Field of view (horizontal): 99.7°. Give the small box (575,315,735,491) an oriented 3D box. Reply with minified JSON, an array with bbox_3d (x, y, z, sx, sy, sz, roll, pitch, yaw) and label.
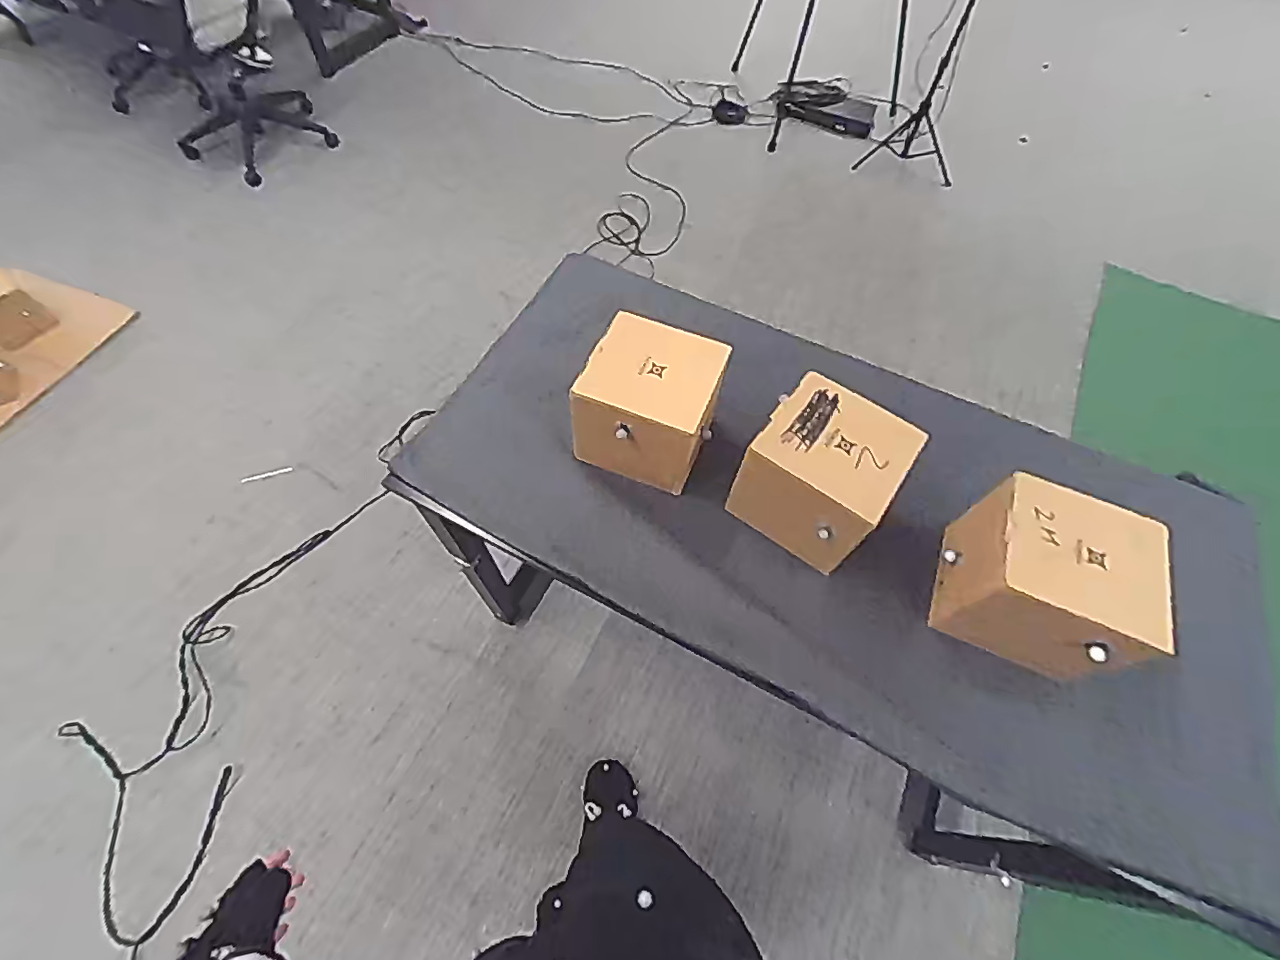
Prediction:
[{"bbox_3d":[0.021,-0.105,0.799,0.179,0.176,0.168,20,61,9],"label":"small box"}]

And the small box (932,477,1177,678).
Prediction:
[{"bbox_3d":[0.506,0.130,0.678,0.179,0.176,0.168,23,61,11],"label":"small box"}]
